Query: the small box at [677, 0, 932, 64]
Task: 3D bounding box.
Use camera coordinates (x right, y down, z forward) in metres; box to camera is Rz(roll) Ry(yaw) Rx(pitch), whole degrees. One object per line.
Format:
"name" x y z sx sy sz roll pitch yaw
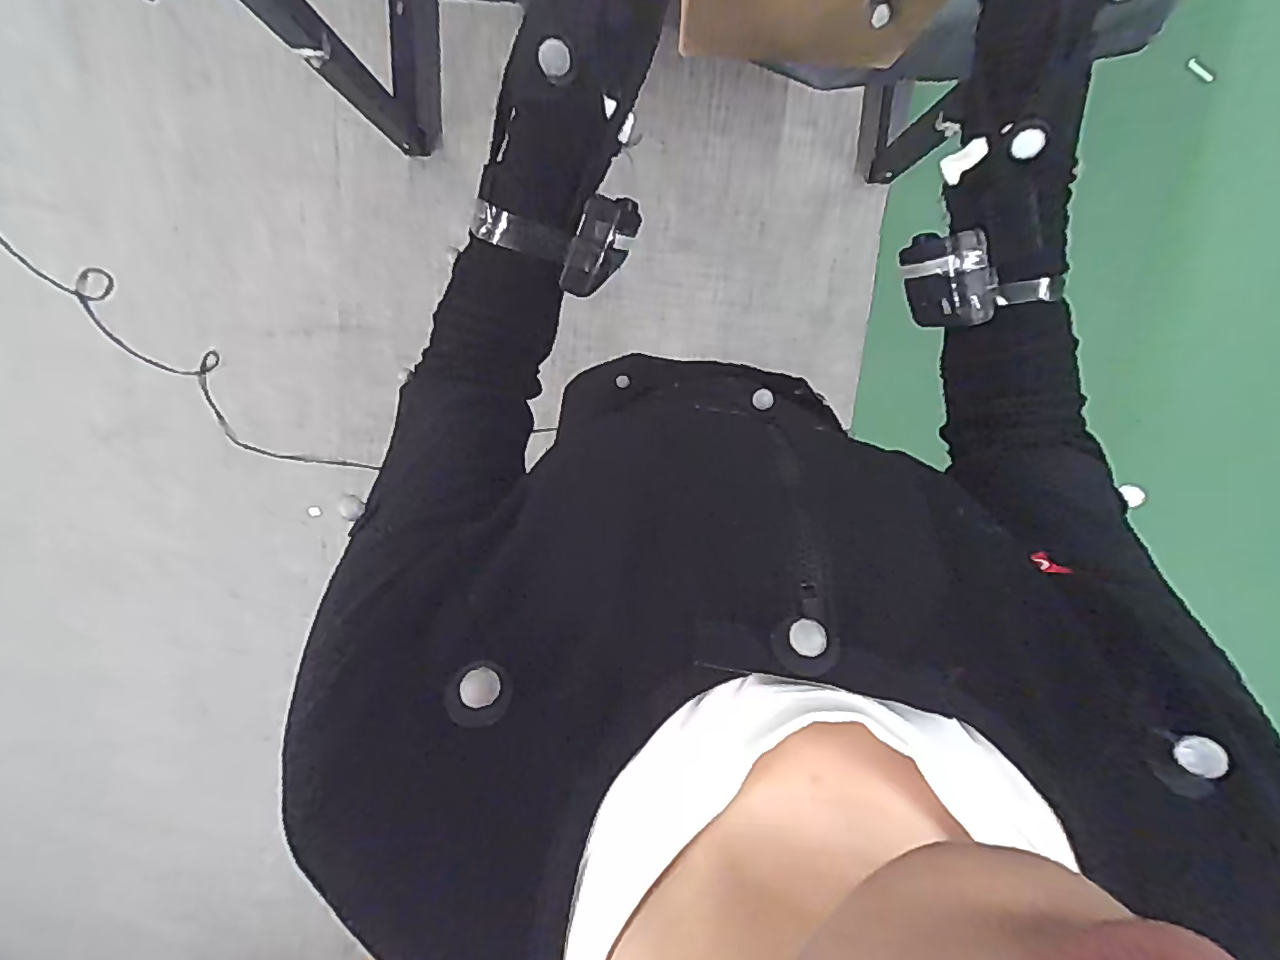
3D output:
"small box" 0.120 -0.404 0.349 0.179 0.176 0.168 2 103 1
